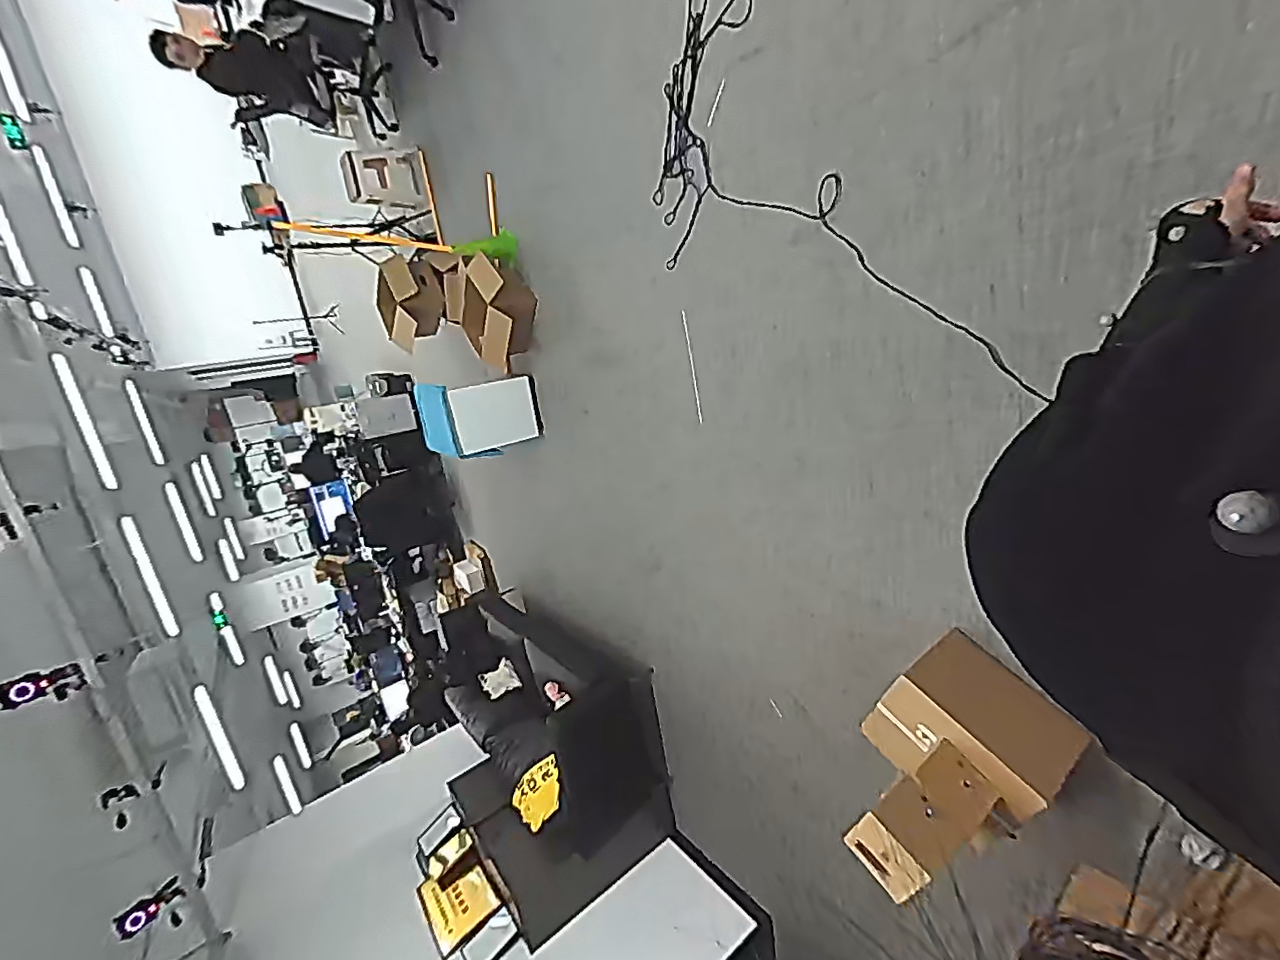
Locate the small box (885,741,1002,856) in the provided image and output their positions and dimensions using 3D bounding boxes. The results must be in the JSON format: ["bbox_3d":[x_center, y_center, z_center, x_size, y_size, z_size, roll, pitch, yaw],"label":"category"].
[{"bbox_3d":[0.779,0.813,1.387,0.168,0.176,0.179,47,141,33],"label":"small box"}]
